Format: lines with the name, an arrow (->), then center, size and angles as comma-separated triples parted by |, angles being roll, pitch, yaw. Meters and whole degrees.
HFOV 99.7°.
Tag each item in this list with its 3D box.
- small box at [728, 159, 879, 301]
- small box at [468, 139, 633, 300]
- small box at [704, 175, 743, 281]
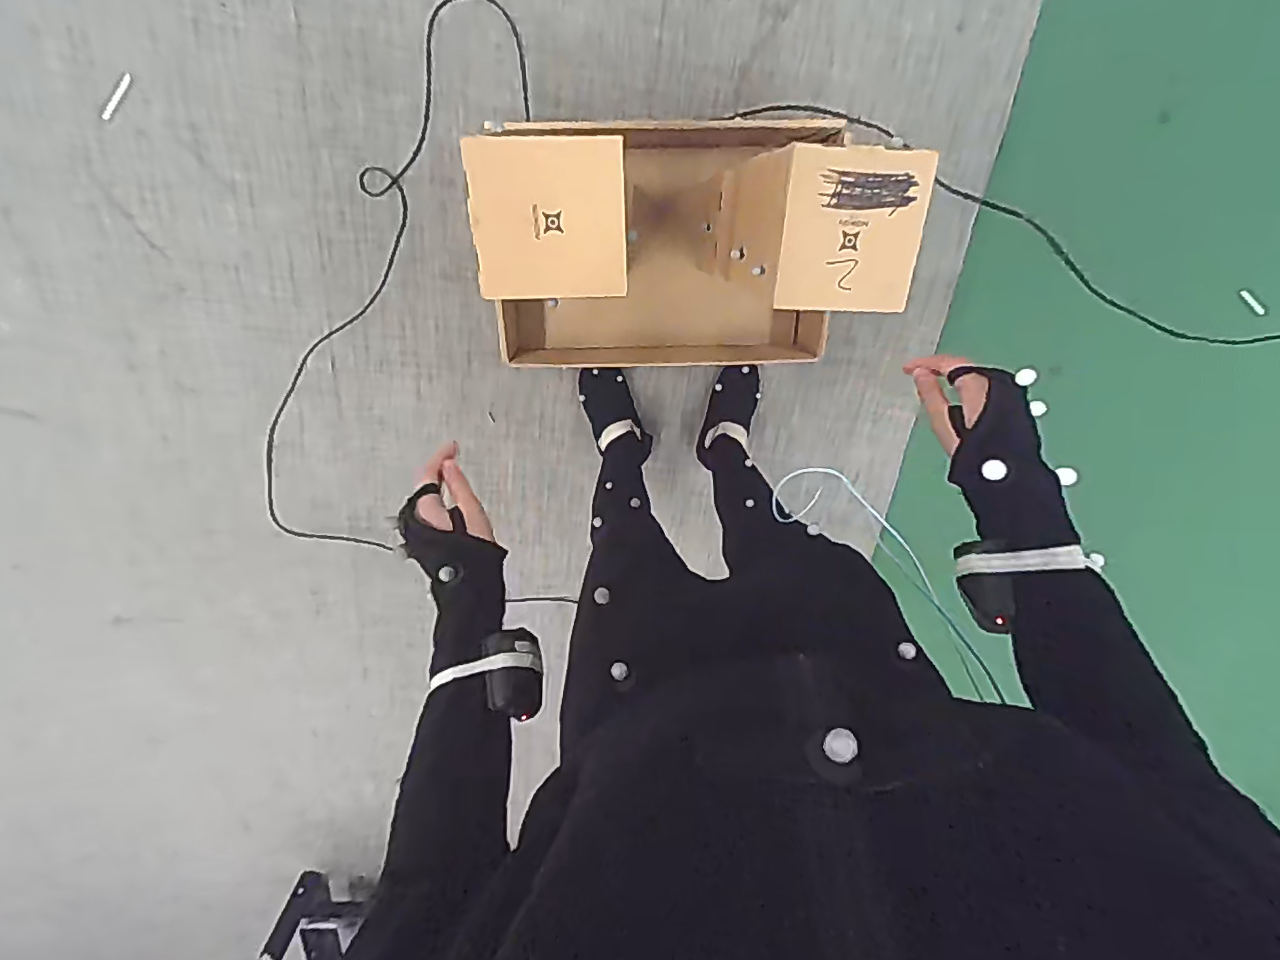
small box -> 0.241, -0.385, 0.847 | 0.168, 0.176, 0.179 | 2, 112, -5
small box -> -0.100, -0.324, 0.681 | 0.179, 0.176, 0.168 | -2, 115, -1
small box -> 0.219, -0.451, 0.997 | 0.179, 0.176, 0.168 | 3, 113, -3
